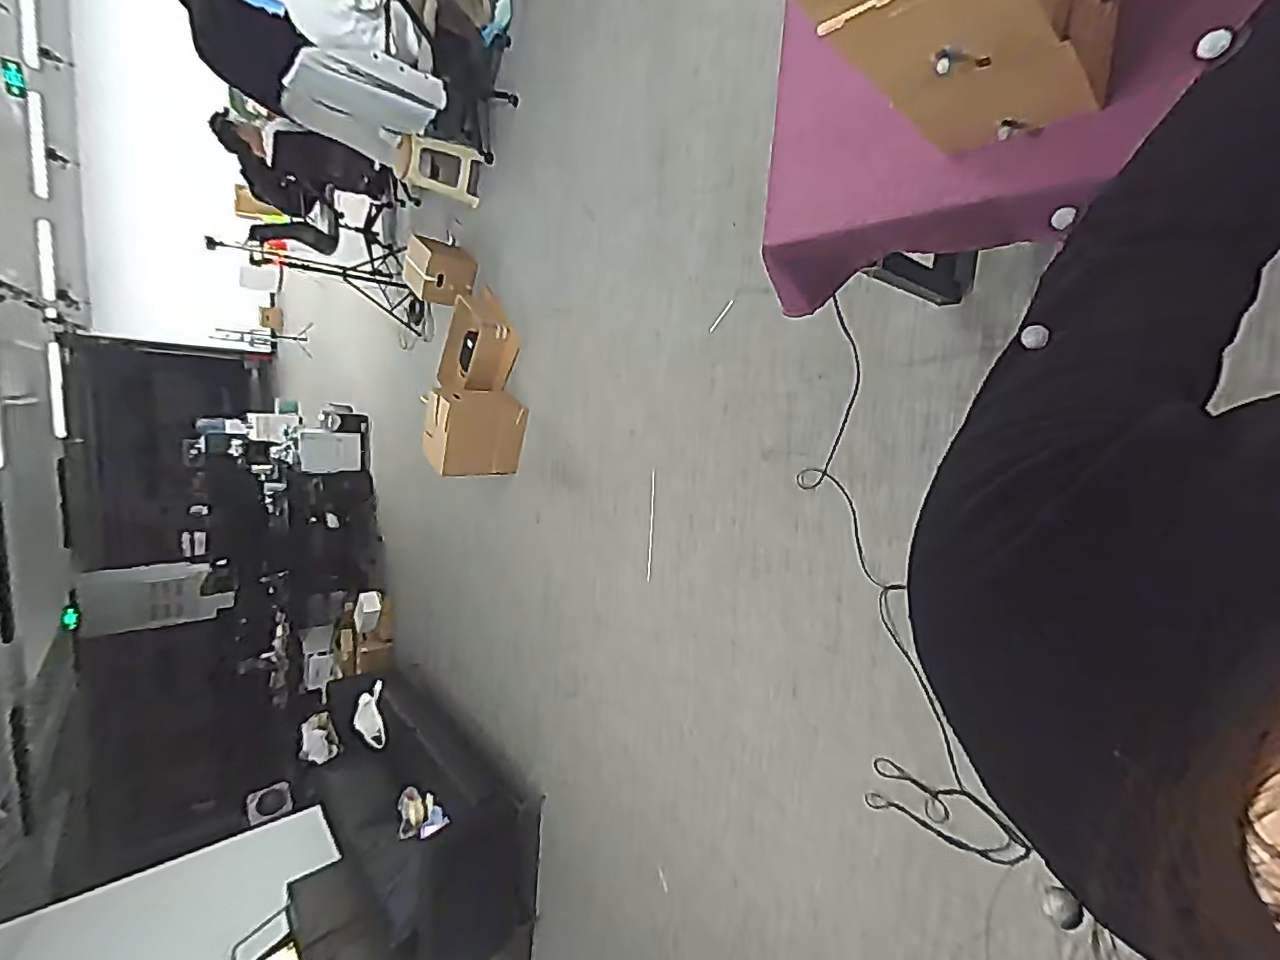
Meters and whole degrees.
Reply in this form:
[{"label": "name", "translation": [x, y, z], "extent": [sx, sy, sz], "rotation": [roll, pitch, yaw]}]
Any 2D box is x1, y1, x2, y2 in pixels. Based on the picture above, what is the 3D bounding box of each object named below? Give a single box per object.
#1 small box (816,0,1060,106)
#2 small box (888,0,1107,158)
[{"label": "small box", "translation": [0.297, -0.513, 0.523], "extent": [0.168, 0.176, 0.179], "rotation": [13, 102, 48]}, {"label": "small box", "translation": [0.420, -0.513, 0.633], "extent": [0.179, 0.176, 0.168], "rotation": [10, 99, 47]}]
